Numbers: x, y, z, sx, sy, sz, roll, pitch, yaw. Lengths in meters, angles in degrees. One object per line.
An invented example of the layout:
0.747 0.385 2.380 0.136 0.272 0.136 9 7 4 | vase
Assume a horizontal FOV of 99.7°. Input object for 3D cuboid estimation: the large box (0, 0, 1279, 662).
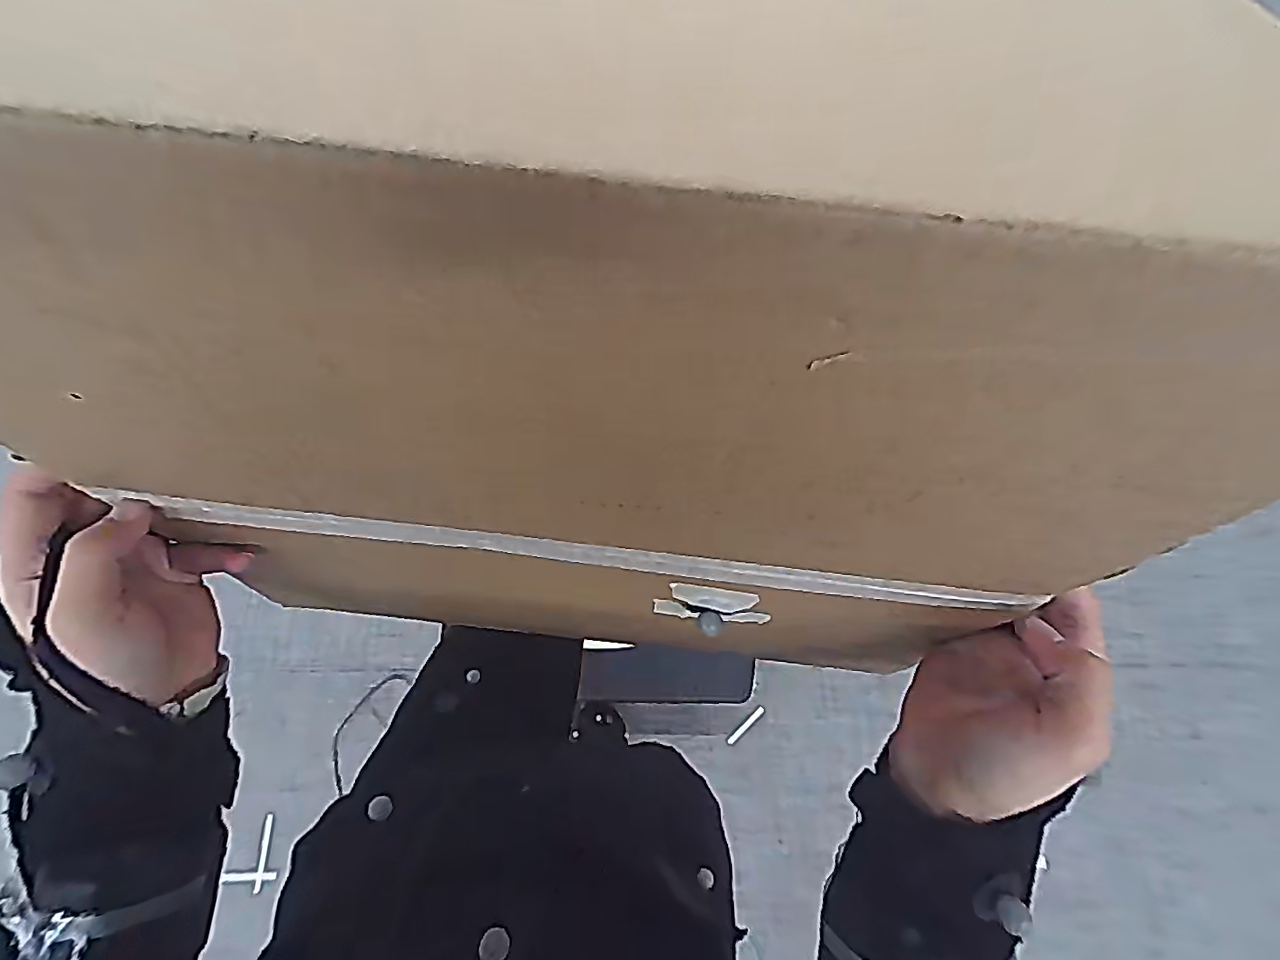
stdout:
-0.017 -0.103 0.315 0.408 0.320 0.320 6 60 0 | large box
